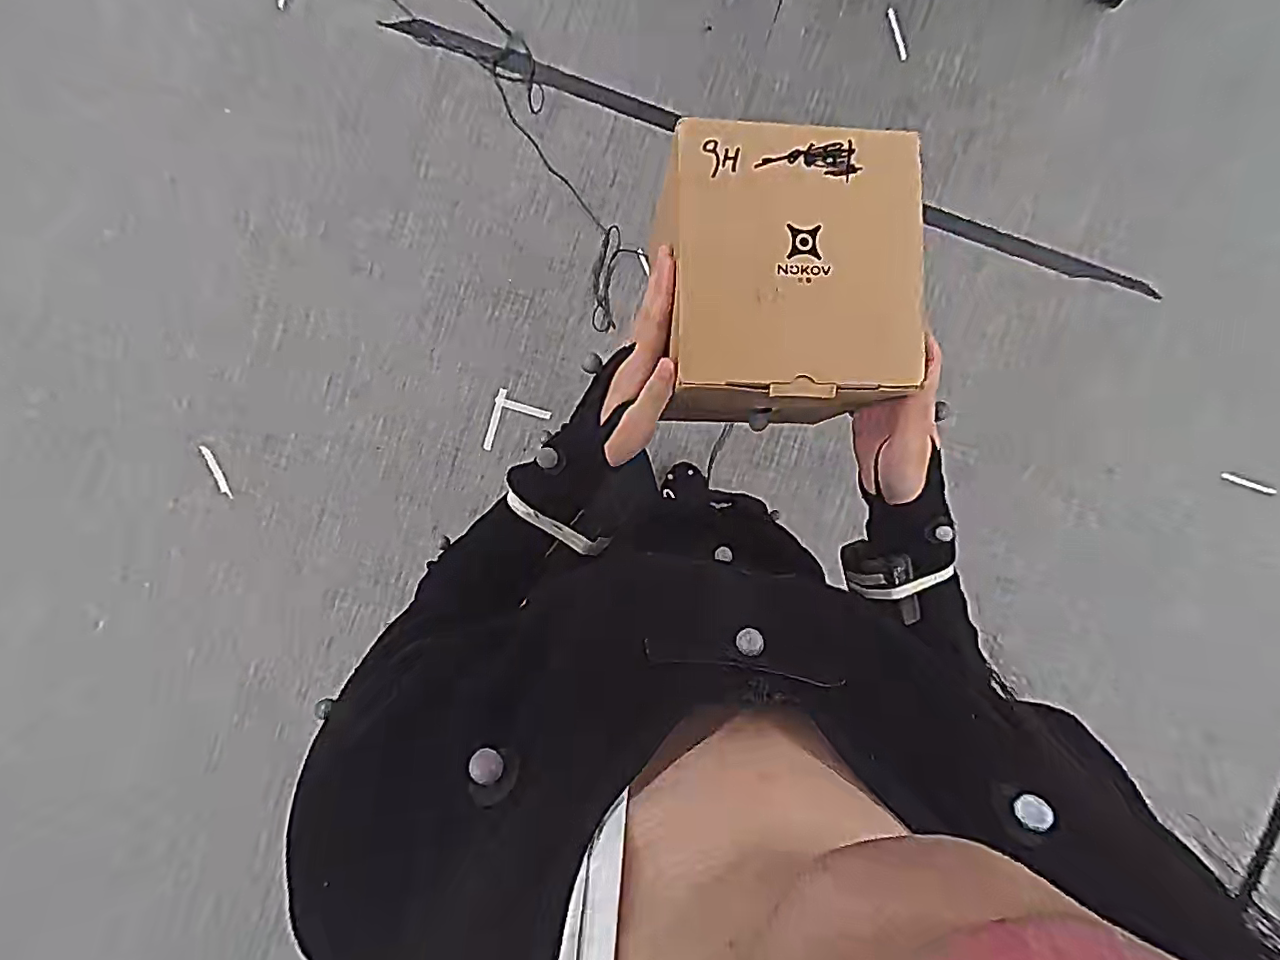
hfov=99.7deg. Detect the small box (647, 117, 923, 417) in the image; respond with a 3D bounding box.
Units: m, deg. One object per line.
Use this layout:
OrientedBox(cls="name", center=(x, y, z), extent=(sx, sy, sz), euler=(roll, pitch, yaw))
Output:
OrientedBox(cls="small box", center=(0.098, -0.145, 0.431), extent=(0.168, 0.176, 0.179), euler=(0, 89, -6))
